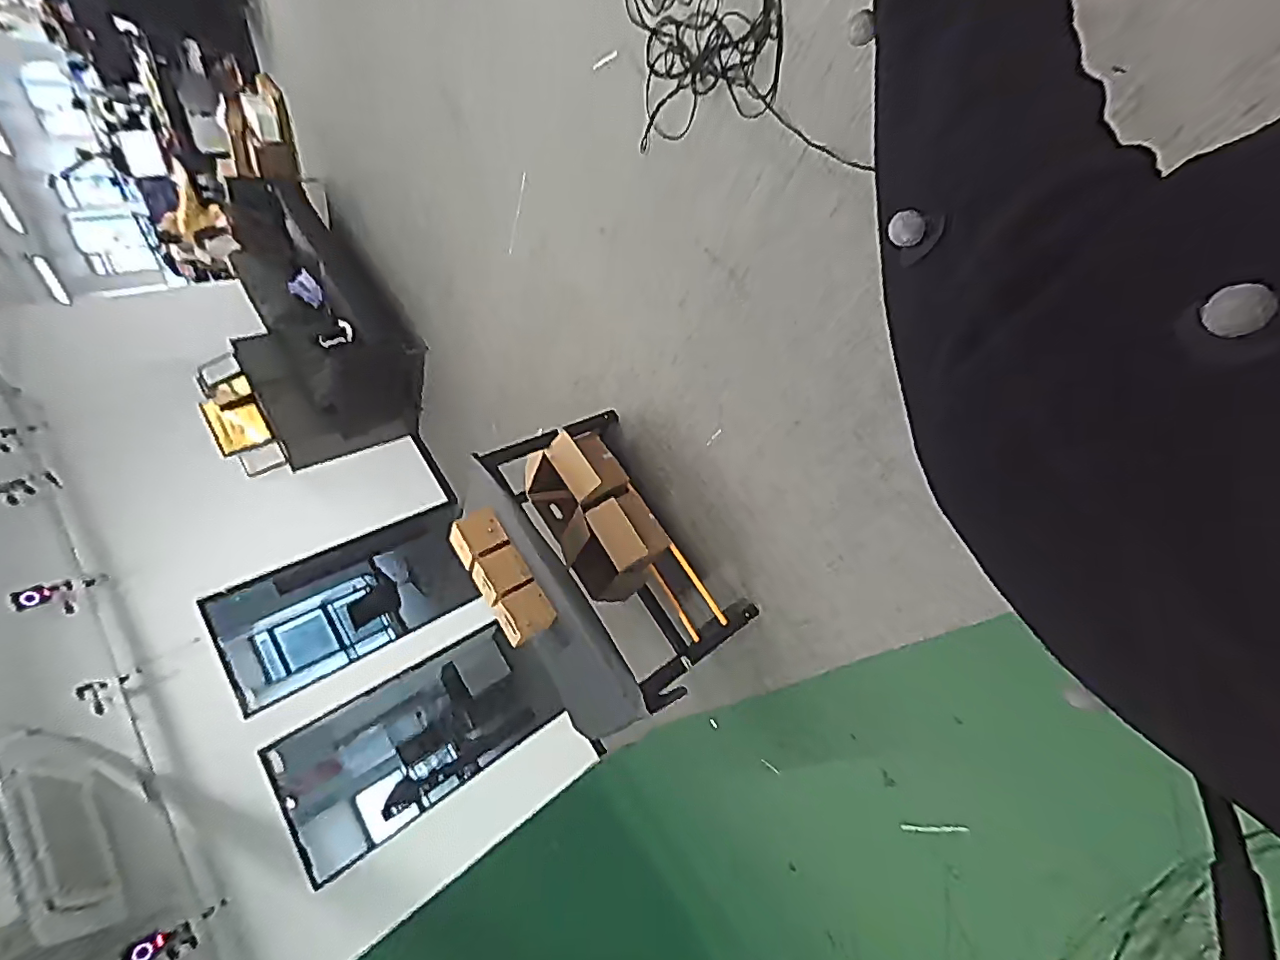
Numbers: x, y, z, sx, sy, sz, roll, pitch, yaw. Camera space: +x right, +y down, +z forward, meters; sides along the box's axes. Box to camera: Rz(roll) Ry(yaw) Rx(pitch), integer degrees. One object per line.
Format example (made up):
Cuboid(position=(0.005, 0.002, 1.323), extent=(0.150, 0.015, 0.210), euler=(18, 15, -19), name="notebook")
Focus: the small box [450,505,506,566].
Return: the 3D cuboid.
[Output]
Cuboid(position=(-0.685, 0.234, 2.290), extent=(0.168, 0.176, 0.179), euler=(55, 144, 14), name="small box")
